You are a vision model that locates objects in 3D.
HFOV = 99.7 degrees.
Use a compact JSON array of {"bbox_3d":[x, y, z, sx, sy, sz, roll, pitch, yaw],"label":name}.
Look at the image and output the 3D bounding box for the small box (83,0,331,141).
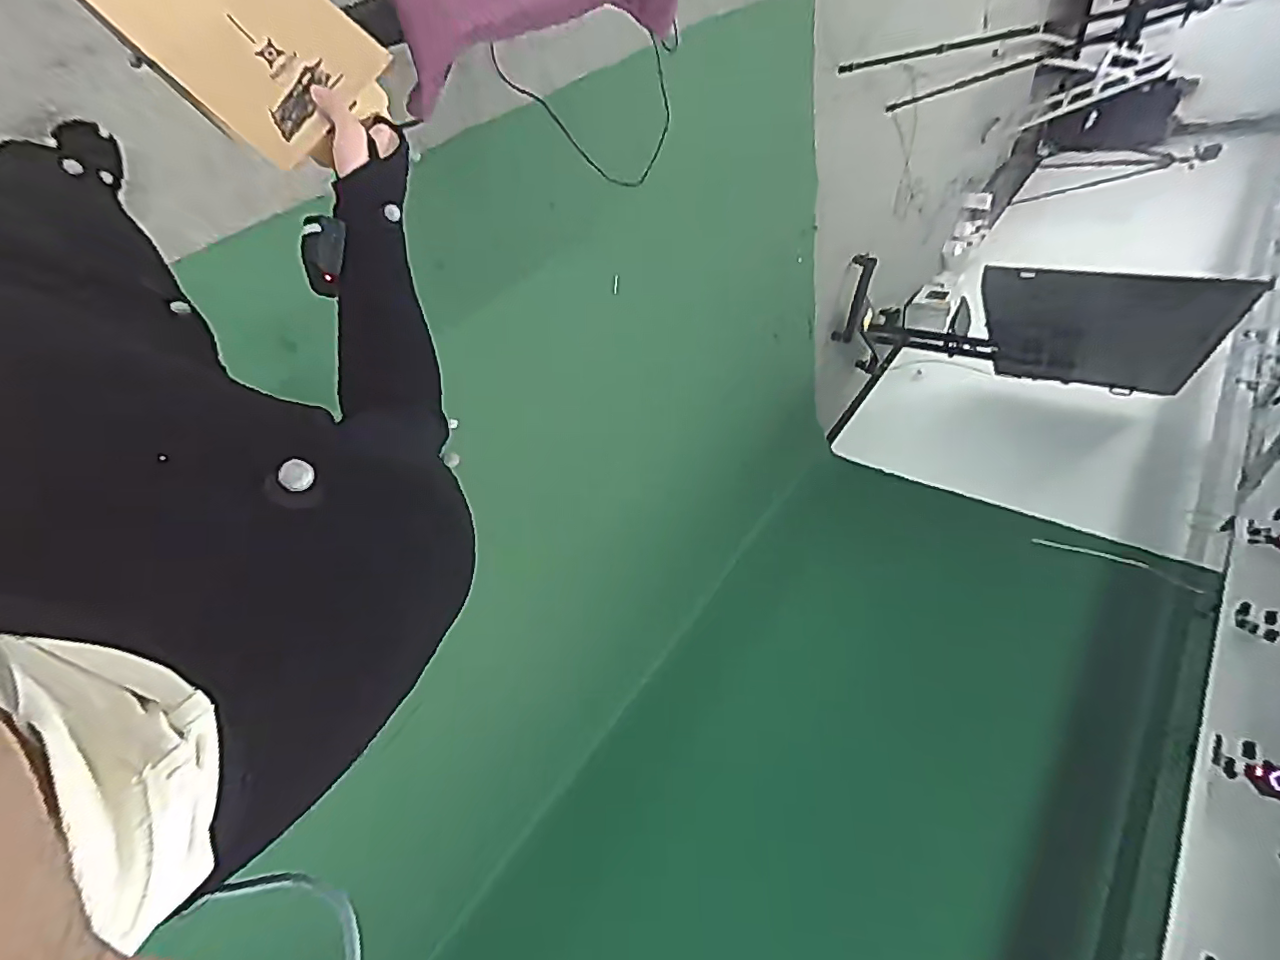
[{"bbox_3d":[-0.496,-0.538,0.597,0.176,0.179,0.168,41,86,-11],"label":"small box"}]
